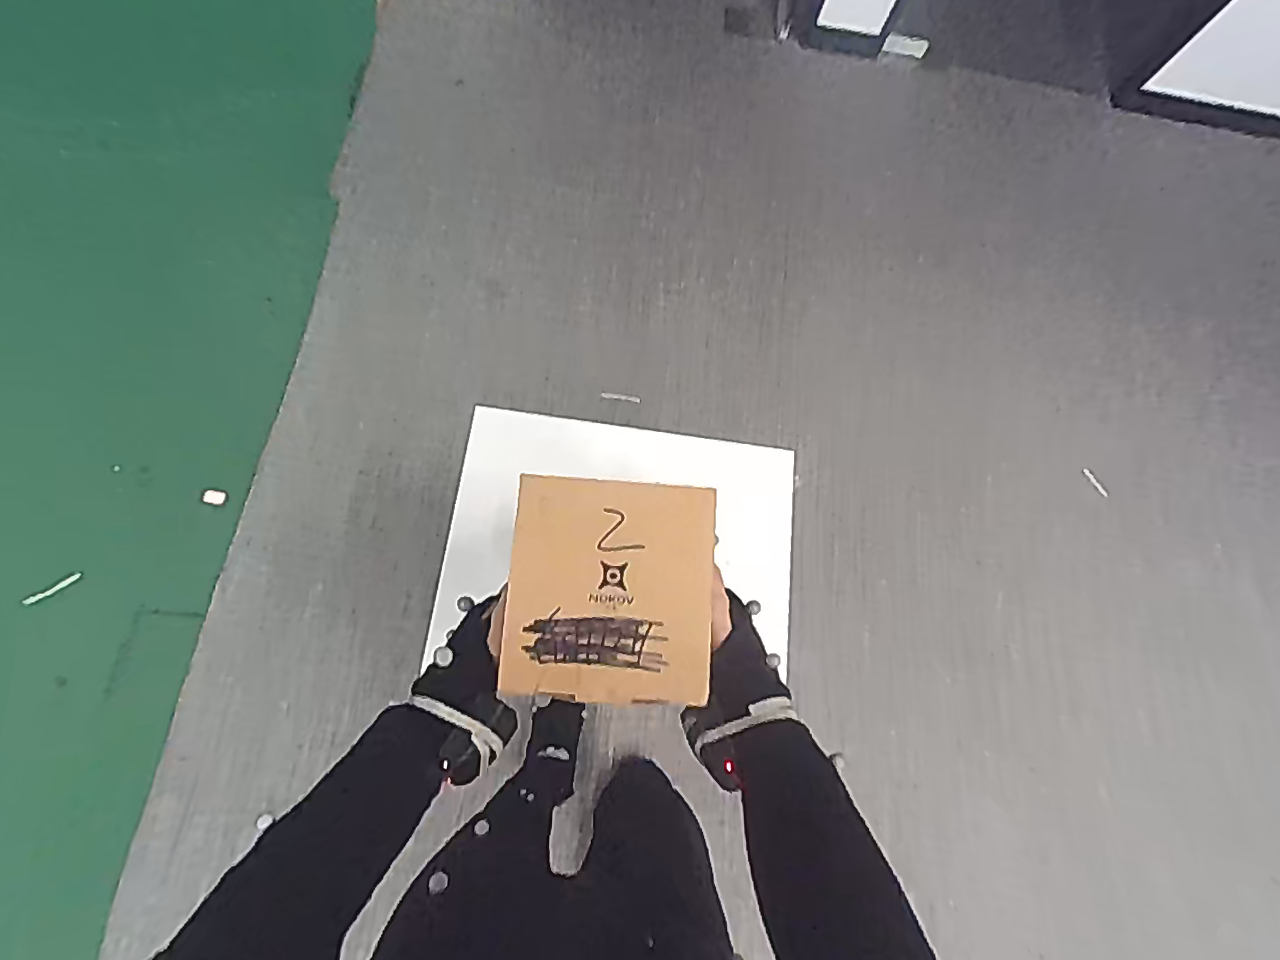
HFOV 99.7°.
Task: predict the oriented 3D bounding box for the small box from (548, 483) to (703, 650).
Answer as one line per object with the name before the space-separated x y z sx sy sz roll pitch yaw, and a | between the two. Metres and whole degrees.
small box | -0.022 0.119 0.699 0.168 0.176 0.179 8 73 -4
